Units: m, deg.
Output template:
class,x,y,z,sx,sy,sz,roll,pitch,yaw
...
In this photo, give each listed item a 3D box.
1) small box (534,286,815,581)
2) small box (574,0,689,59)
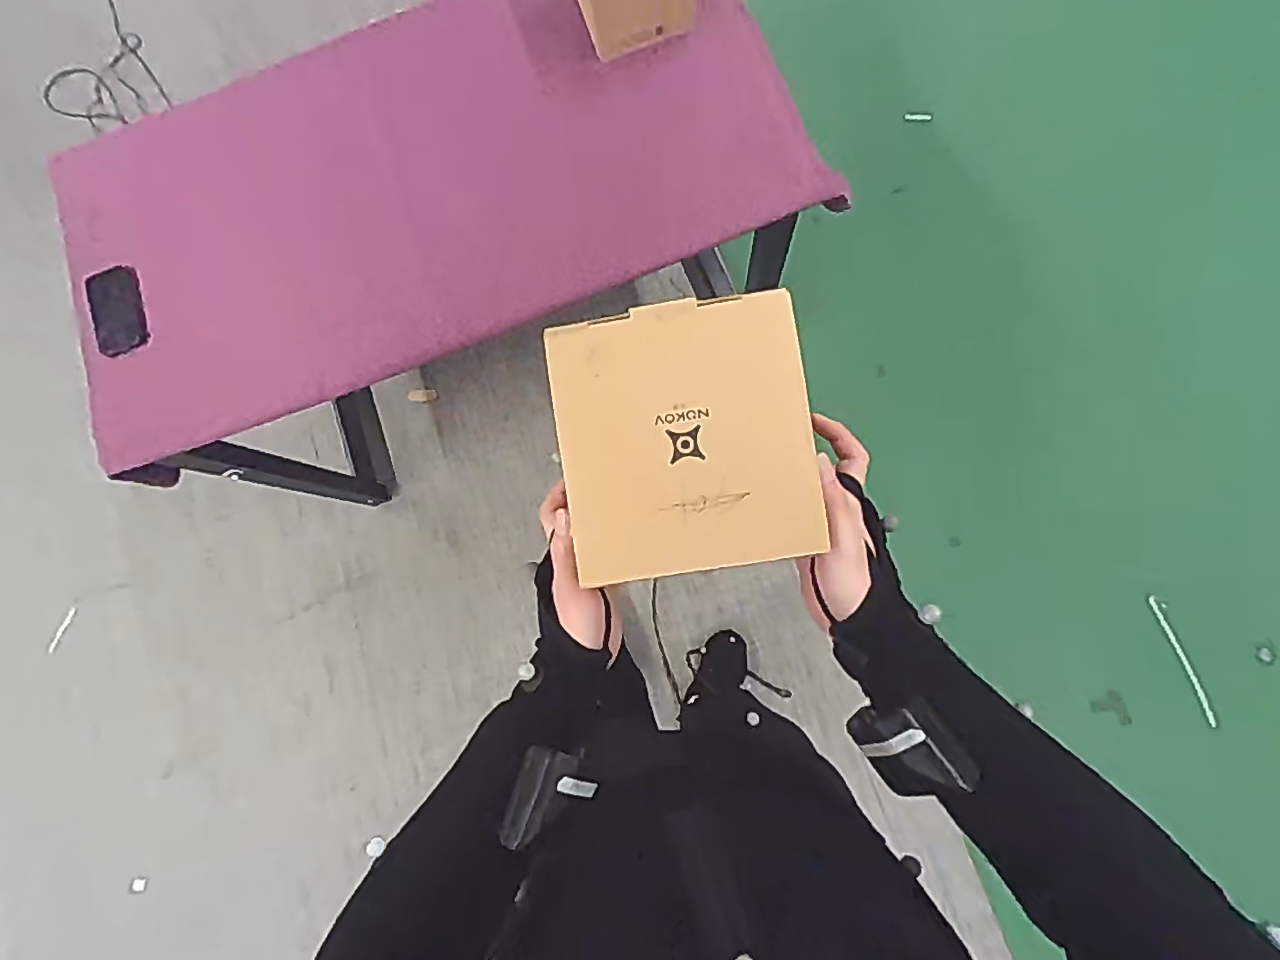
class,x,y,z,sx,sy,sz,roll,pitch,yaw
small box,0.025,-0.028,0.431,0.168,0.176,0.179,-9,89,4
small box,-0.030,-0.801,0.818,0.168,0.176,0.179,-19,79,4
